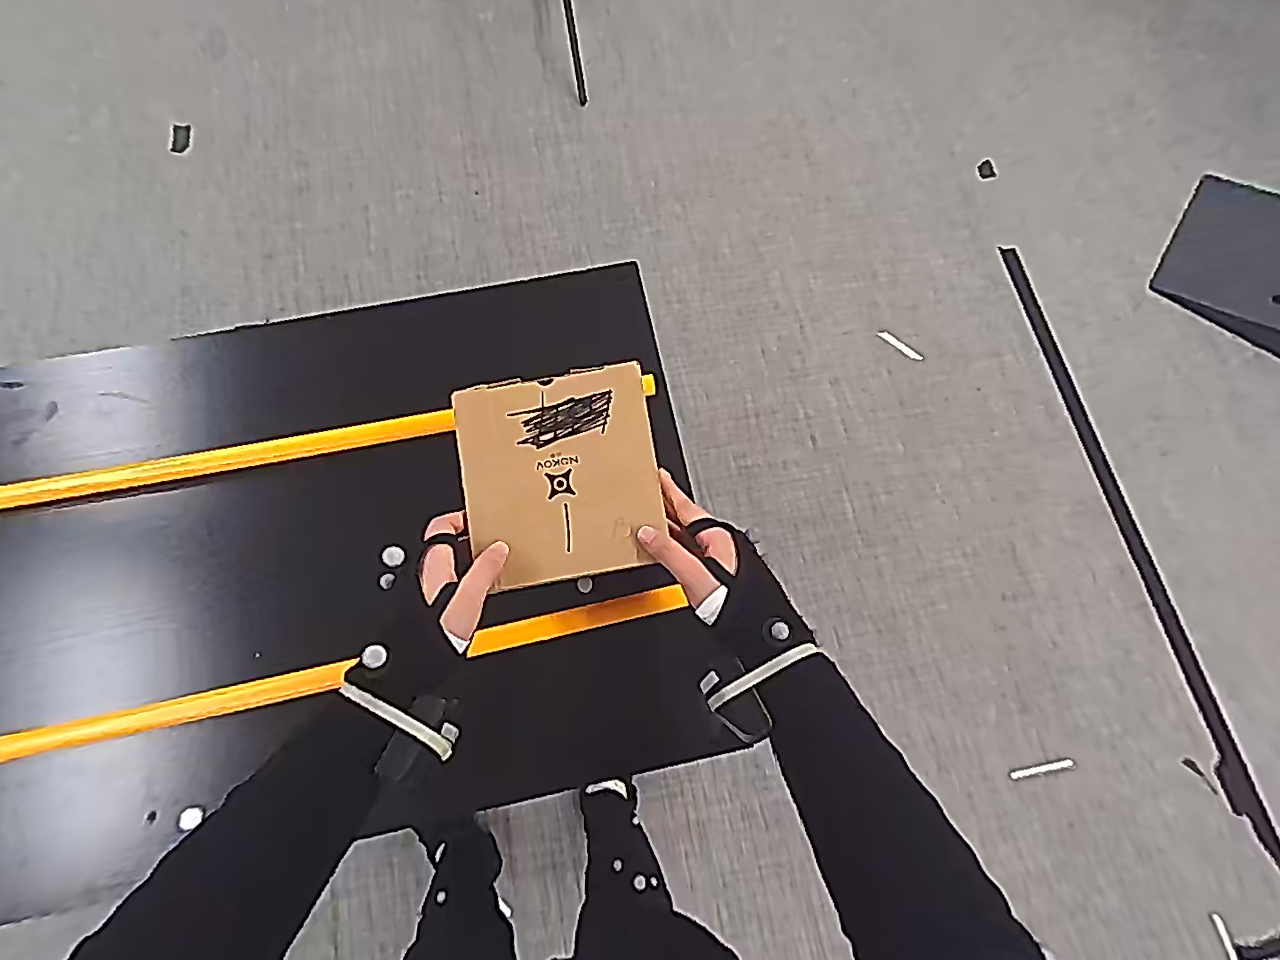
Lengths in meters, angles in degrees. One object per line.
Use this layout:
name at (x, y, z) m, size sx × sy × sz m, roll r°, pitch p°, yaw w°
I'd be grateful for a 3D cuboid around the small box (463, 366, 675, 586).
small box at (-0.064, 0.006, 0.545) m, size 0.168 × 0.176 × 0.179 m, roll -10°, pitch 82°, yaw -1°
